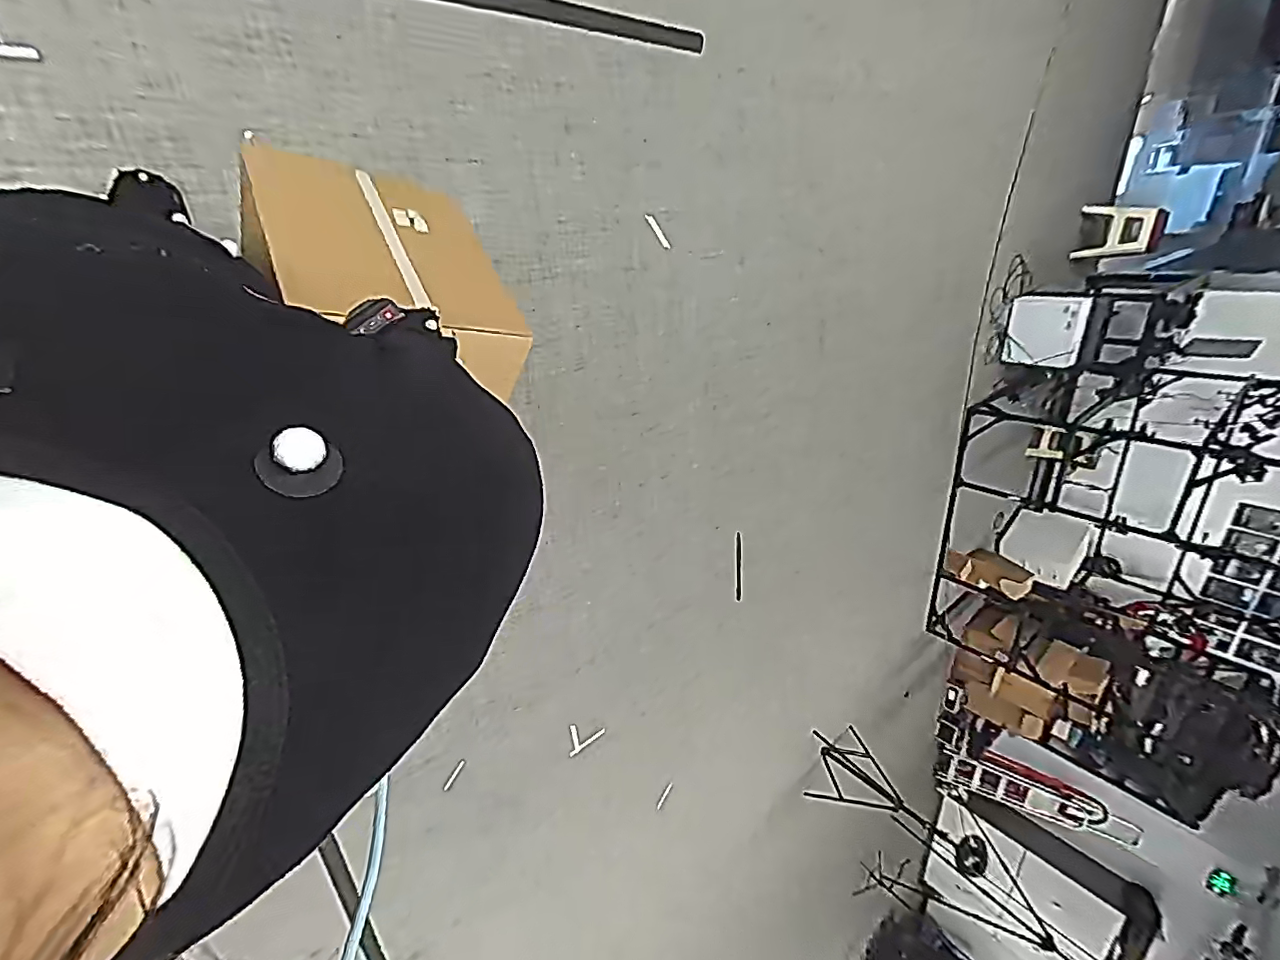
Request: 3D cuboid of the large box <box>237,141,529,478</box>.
[{"bbox_3d":[-0.440,-0.259,0.886,0.320,0.408,0.320,-6,143,-42],"label":"large box"}]
